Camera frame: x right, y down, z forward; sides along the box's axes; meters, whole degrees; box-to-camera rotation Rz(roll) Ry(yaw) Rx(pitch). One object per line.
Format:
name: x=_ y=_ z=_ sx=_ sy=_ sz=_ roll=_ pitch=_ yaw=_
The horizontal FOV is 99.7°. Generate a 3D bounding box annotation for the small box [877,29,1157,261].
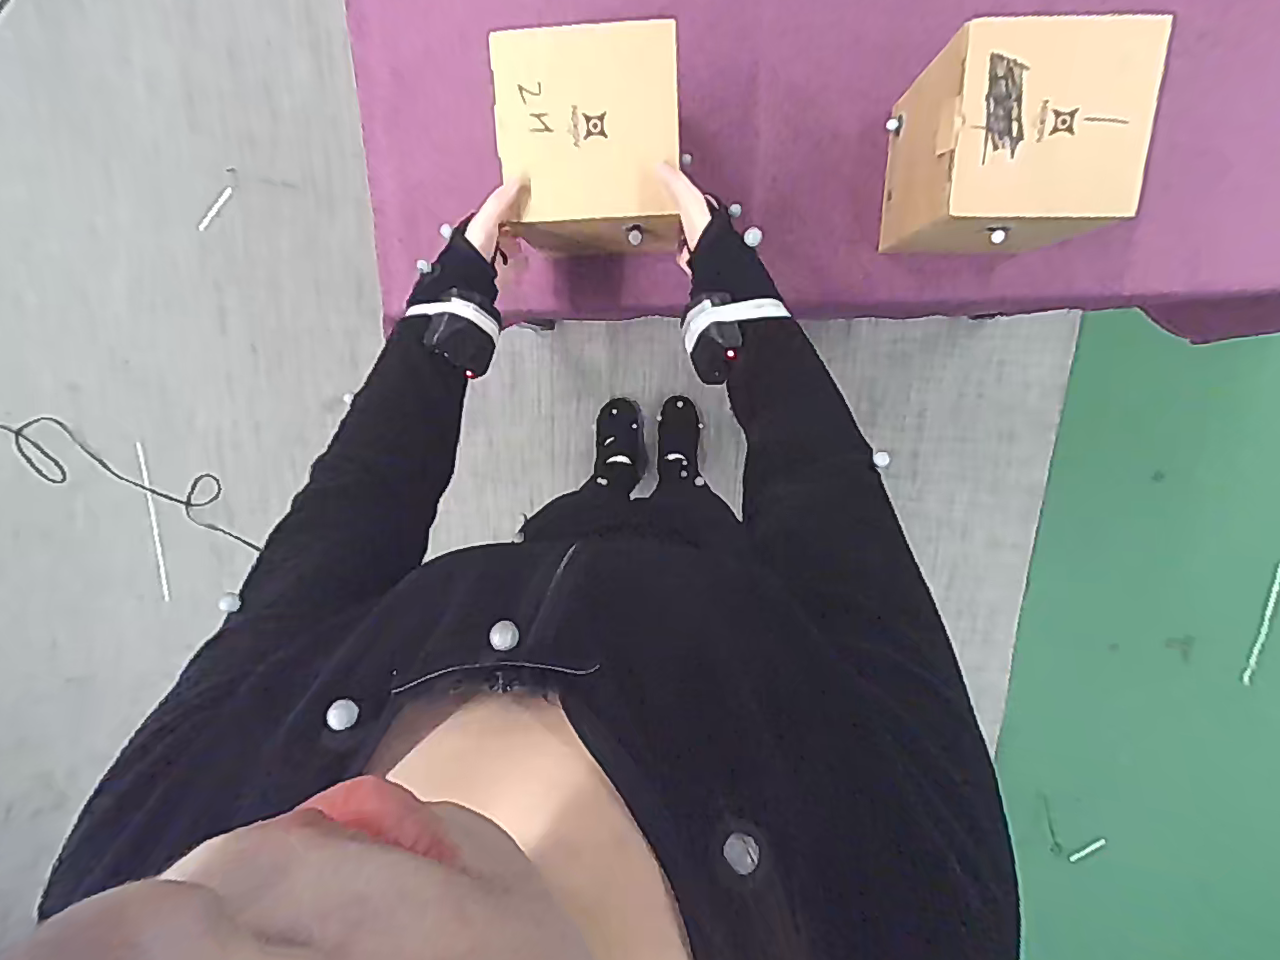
small box: x=0.374 y=-0.336 z=0.576 sx=0.179 sy=0.176 sz=0.168 roll=2 pitch=102 yaw=2

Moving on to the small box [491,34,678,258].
small box: x=-0.050 y=-0.348 z=0.594 sx=0.179 sy=0.176 sz=0.168 roll=-1 pitch=102 yaw=2
